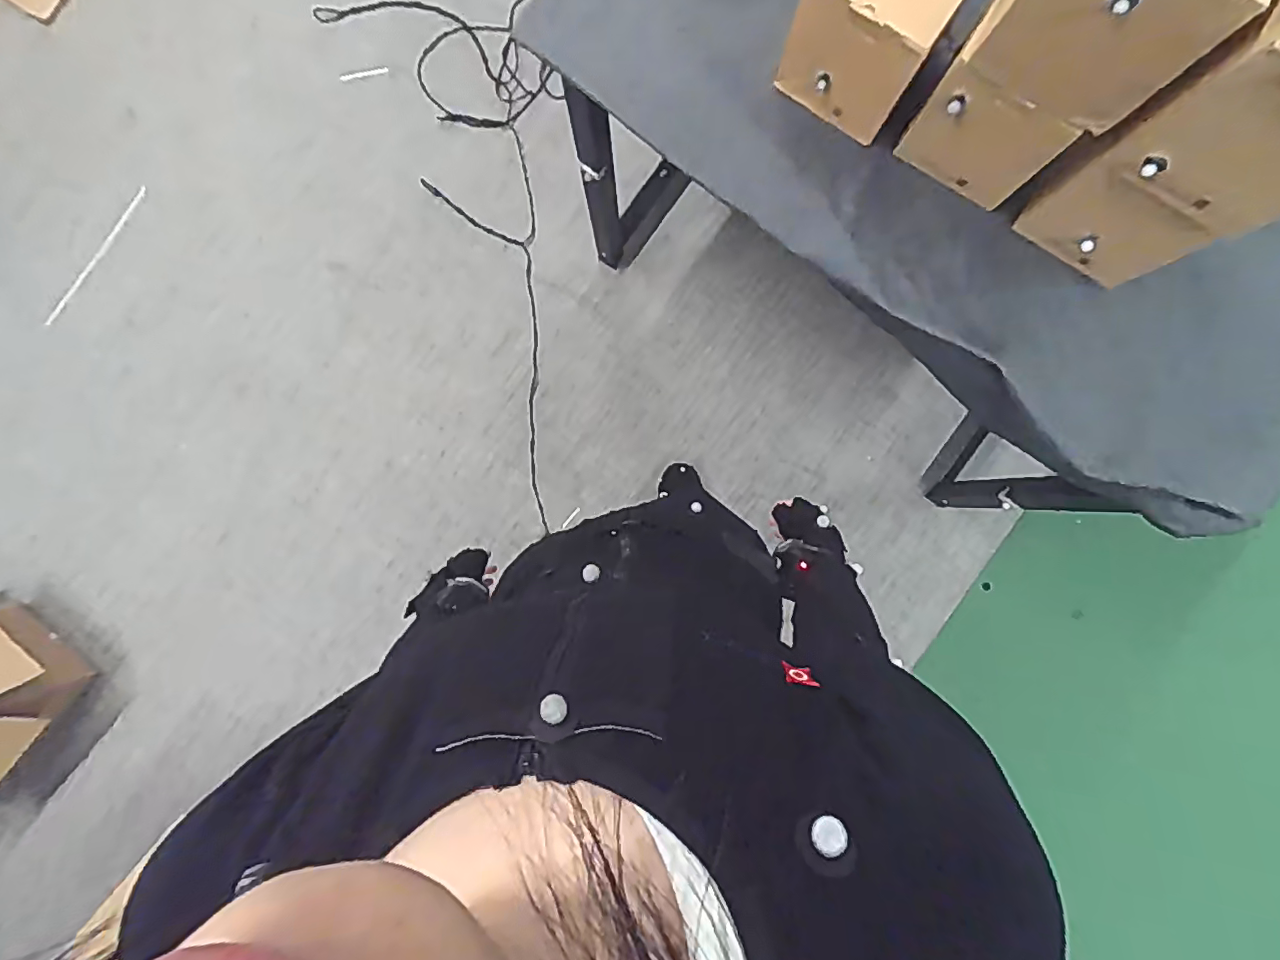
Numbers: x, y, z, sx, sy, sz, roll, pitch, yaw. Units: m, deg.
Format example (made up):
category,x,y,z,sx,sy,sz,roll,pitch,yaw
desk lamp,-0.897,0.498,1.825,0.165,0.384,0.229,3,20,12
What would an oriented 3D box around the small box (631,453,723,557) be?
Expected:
category,x,y,z,sx,sy,sz,roll,pitch,yaw
small box,0.089,0.068,1.416,0.179,0.176,0.168,-29,59,-23
